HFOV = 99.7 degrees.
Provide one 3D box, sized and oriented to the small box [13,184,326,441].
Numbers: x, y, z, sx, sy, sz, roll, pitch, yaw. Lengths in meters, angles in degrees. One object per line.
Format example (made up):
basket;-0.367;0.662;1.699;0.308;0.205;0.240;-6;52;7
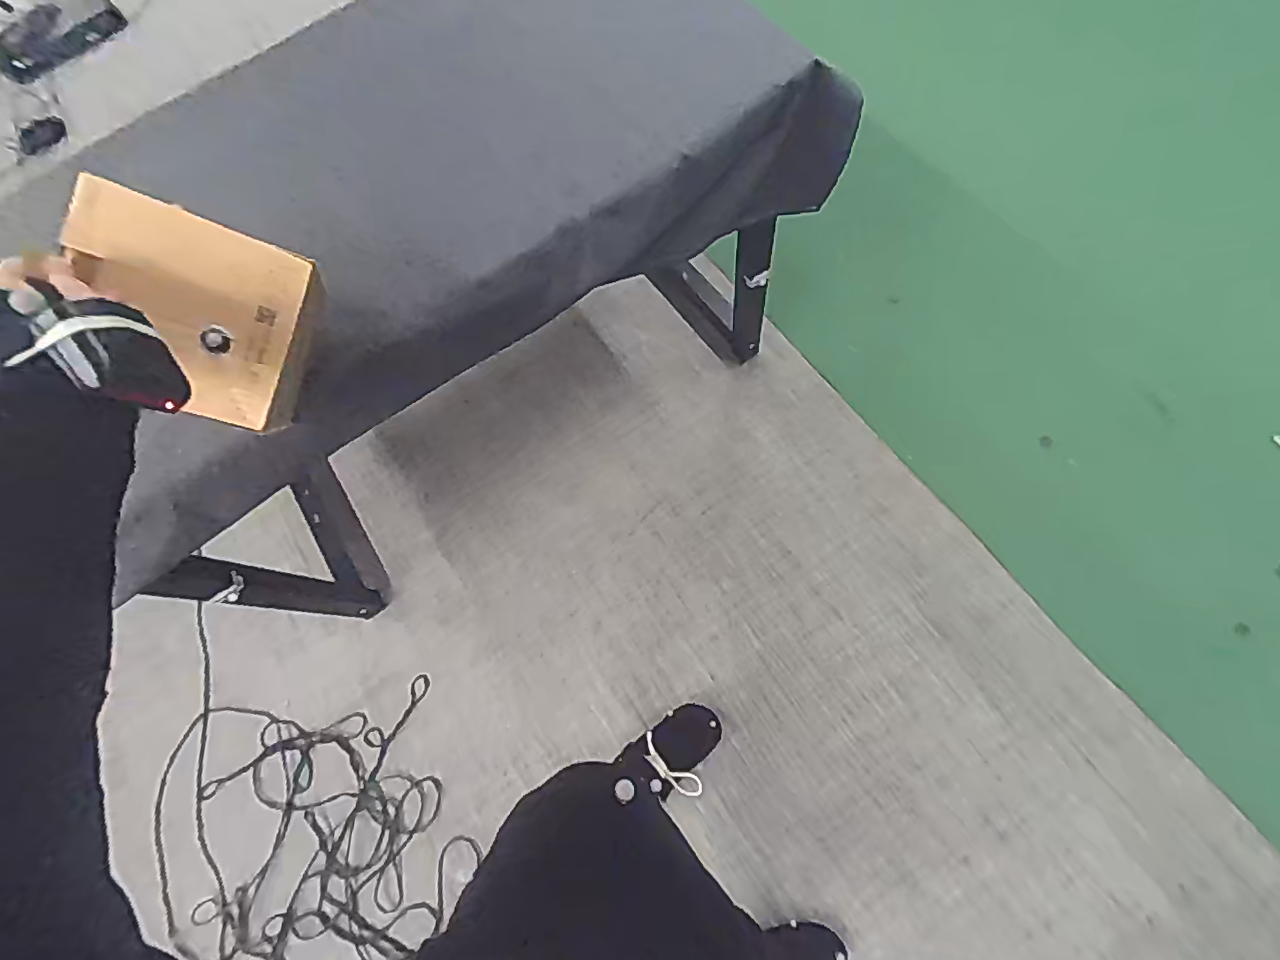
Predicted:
small box;-0.429;-0.144;0.533;0.176;0.179;0.168;19;89;-27
